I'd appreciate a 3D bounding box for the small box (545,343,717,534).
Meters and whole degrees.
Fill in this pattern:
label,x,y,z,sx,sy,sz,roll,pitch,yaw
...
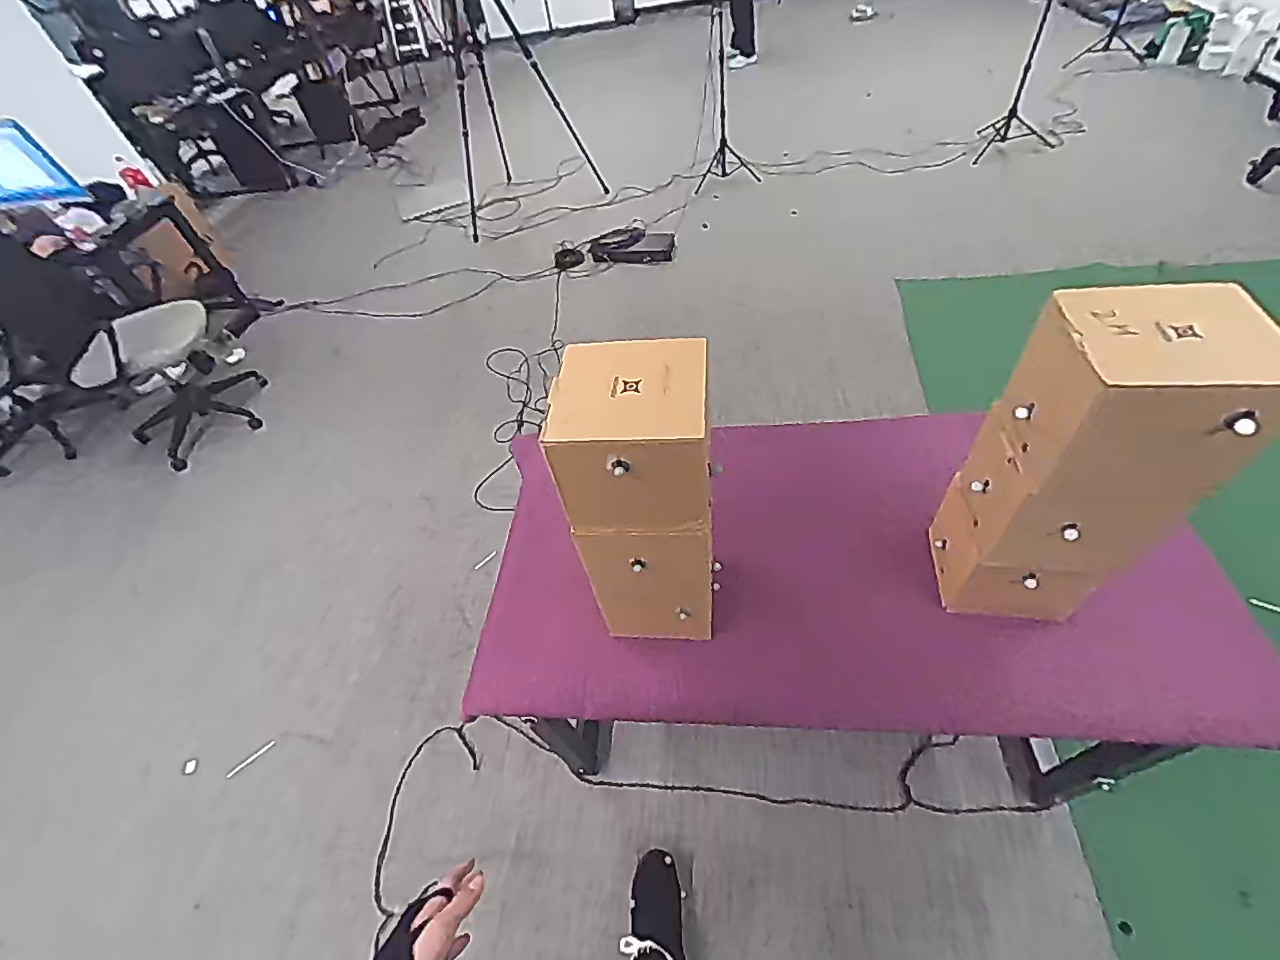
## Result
label,x,y,z,sx,sy,sz,roll,pitch,yaw
small box,0.003,-0.047,0.661,0.179,0.176,0.168,1,51,8

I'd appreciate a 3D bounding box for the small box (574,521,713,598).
label,x,y,z,sx,sy,sz,roll,pitch,yaw
small box,0.017,0.060,0.783,0.179,0.176,0.168,-1,50,8

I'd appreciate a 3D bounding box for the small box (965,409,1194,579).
label,x,y,z,sx,sy,sz,roll,pitch,yaw
small box,0.565,0.021,0.734,0.179,0.176,0.168,3,51,13

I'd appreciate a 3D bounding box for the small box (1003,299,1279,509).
label,x,y,z,sx,sy,sz,roll,pitch,yaw
small box,0.549,-0.082,0.605,0.179,0.176,0.168,3,50,13

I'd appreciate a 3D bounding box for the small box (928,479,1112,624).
label,x,y,z,sx,sy,sz,roll,pitch,yaw
small box,0.587,0.117,0.865,0.179,0.176,0.168,3,51,12
